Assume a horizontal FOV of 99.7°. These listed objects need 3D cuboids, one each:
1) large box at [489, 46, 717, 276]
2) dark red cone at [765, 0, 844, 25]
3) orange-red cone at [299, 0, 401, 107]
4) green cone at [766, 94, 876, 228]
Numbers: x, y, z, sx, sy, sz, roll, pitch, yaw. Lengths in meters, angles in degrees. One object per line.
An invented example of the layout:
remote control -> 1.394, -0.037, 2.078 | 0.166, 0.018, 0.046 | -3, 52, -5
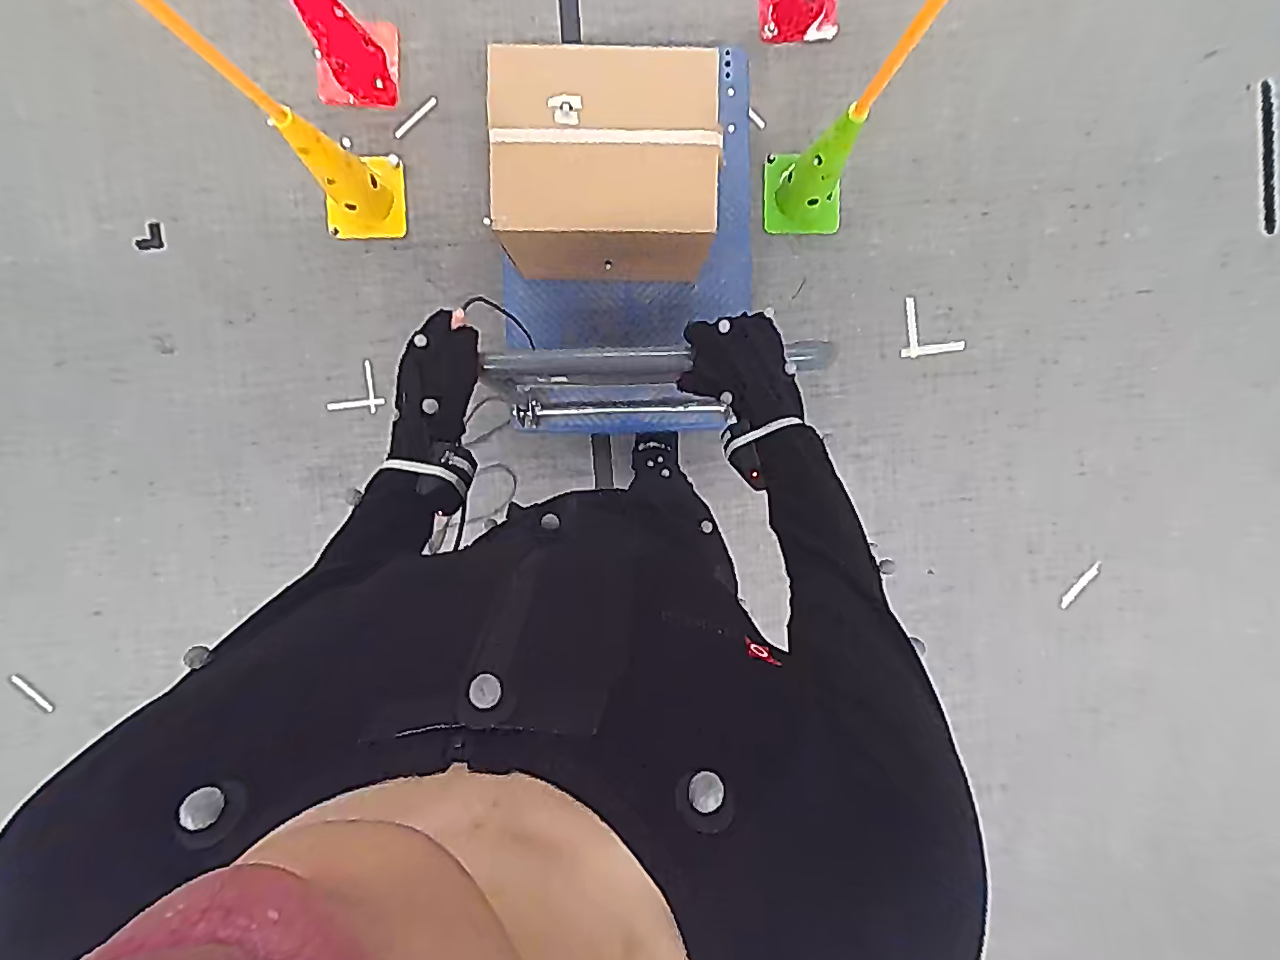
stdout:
large box -> -0.061, -0.615, 1.102 | 0.408, 0.320, 0.320 | 0, 95, 0
dark red cone -> 0.415, -1.232, 1.192 | 0.201, 0.394, 0.202 | -5, 95, -3
orange-red cone -> -0.704, -1.051, 1.206 | 0.198, 0.360, 0.199 | 3, 93, -2
green cone -> 0.435, -0.750, 1.245 | 0.202, 0.368, 0.200 | -1, 94, -2
